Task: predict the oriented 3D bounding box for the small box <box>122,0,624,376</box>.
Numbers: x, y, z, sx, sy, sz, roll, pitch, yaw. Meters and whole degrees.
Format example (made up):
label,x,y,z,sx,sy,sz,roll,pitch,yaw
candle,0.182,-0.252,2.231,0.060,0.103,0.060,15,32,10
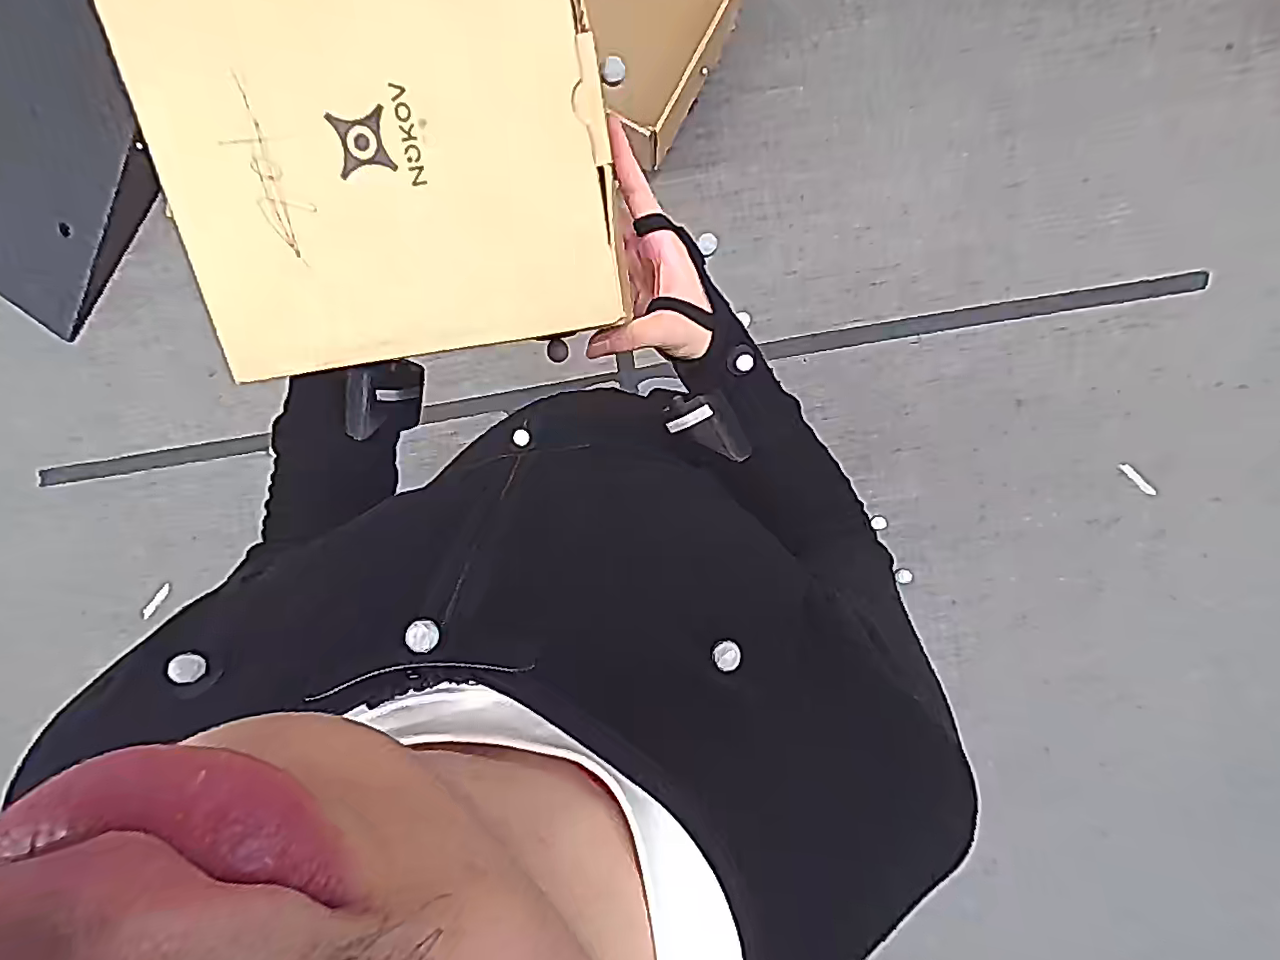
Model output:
label,x,y,z,sx,sy,sz,roll,pitch,yaw
small box,-0.104,-0.159,0.300,0.179,0.176,0.168,-8,106,3
